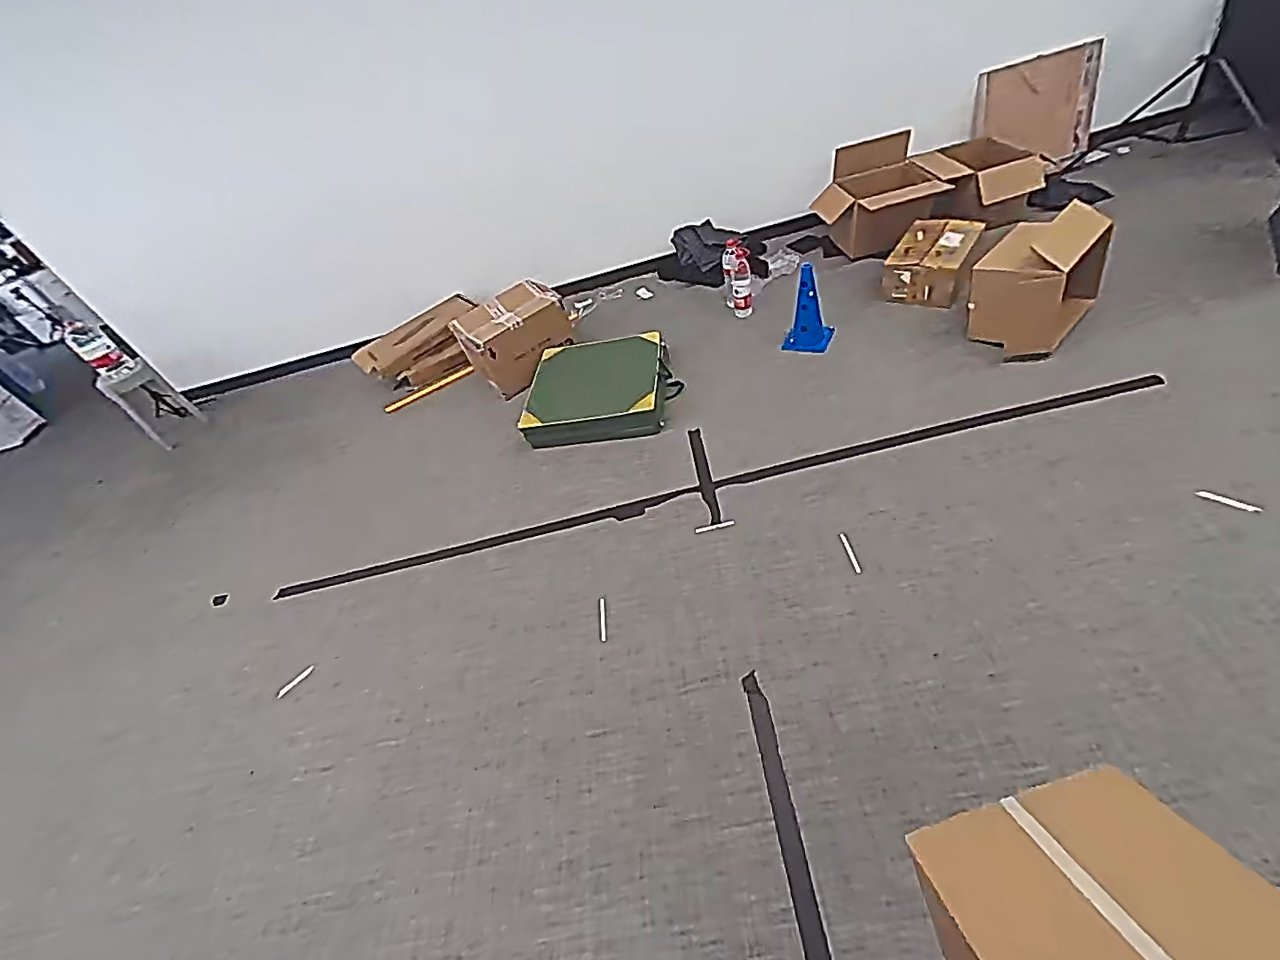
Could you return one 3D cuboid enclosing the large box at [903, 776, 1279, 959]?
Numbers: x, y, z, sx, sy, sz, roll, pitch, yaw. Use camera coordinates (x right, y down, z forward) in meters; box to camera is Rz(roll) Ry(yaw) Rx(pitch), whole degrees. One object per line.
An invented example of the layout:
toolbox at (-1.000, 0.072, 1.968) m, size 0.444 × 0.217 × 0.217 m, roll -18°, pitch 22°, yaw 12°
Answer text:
large box at (0.571, 0.632, 0.591) m, size 0.320 × 0.320 × 0.408 m, roll -22°, pitch 8°, yaw 2°
